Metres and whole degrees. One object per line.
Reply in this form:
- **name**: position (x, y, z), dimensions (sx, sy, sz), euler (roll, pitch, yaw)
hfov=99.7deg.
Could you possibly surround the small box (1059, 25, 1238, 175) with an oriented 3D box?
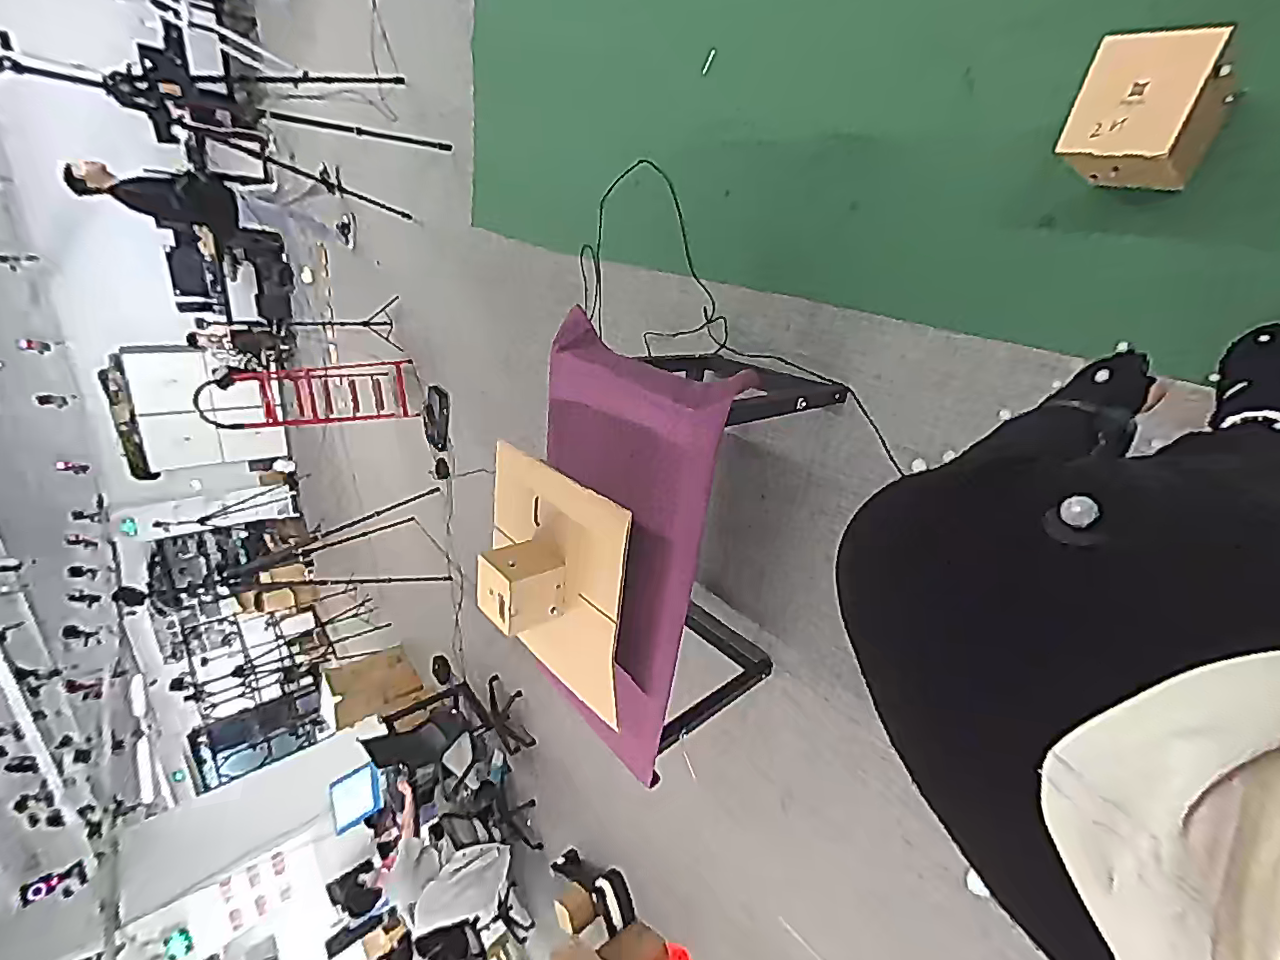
- **small box**: position (0.887, -0.656, 0.948), dimensions (0.168, 0.176, 0.179), euler (34, 124, 39)

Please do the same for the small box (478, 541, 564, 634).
- **small box**: position (-0.321, 0.280, 1.460), dimensions (0.179, 0.176, 0.168), euler (27, 118, 42)
